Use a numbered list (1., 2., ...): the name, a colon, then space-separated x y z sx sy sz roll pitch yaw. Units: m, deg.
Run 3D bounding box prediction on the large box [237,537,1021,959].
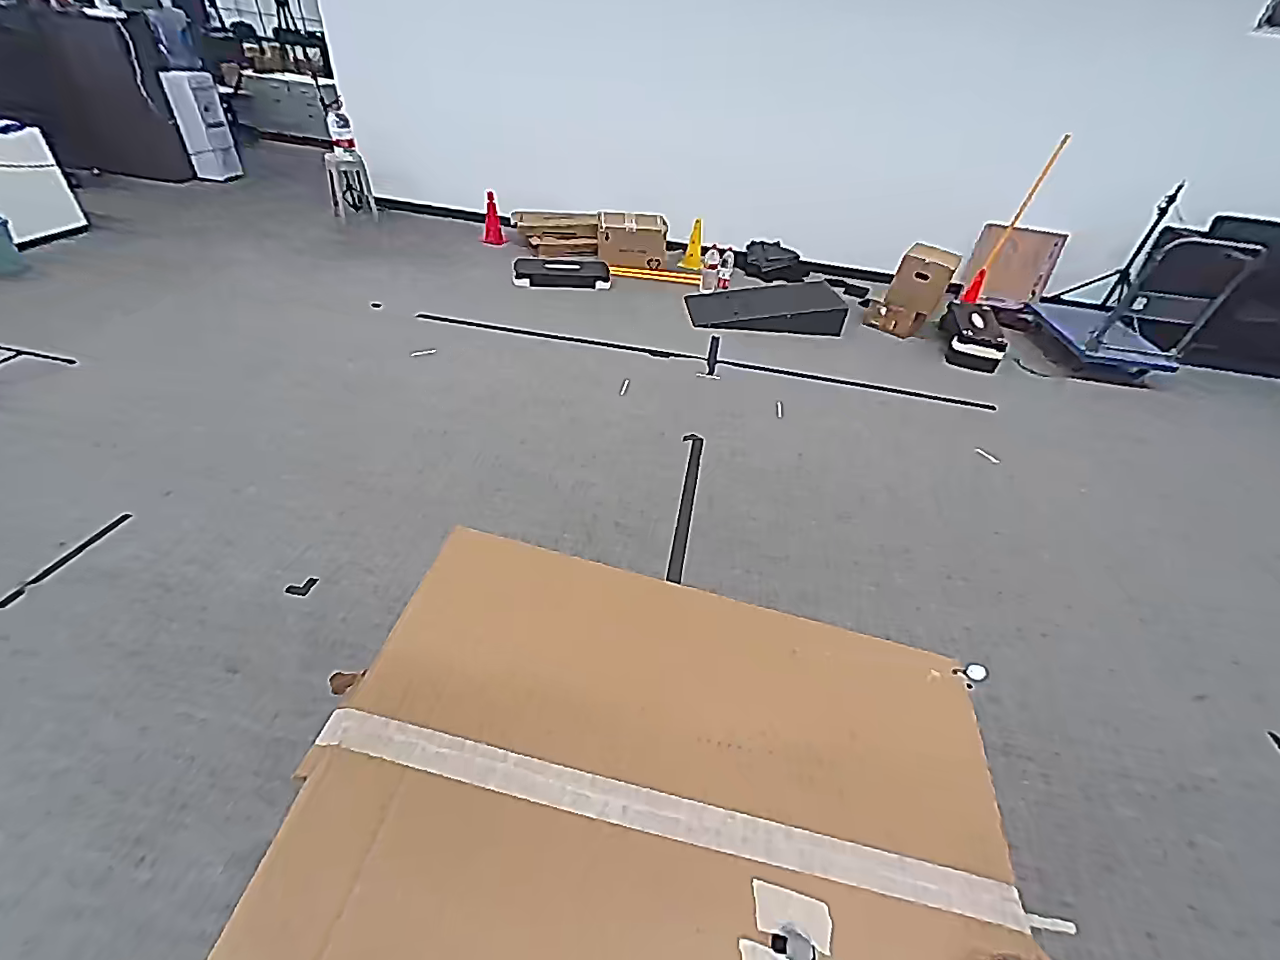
1. large box: -0.004 0.299 0.426 0.408 0.320 0.320 16 46 0
